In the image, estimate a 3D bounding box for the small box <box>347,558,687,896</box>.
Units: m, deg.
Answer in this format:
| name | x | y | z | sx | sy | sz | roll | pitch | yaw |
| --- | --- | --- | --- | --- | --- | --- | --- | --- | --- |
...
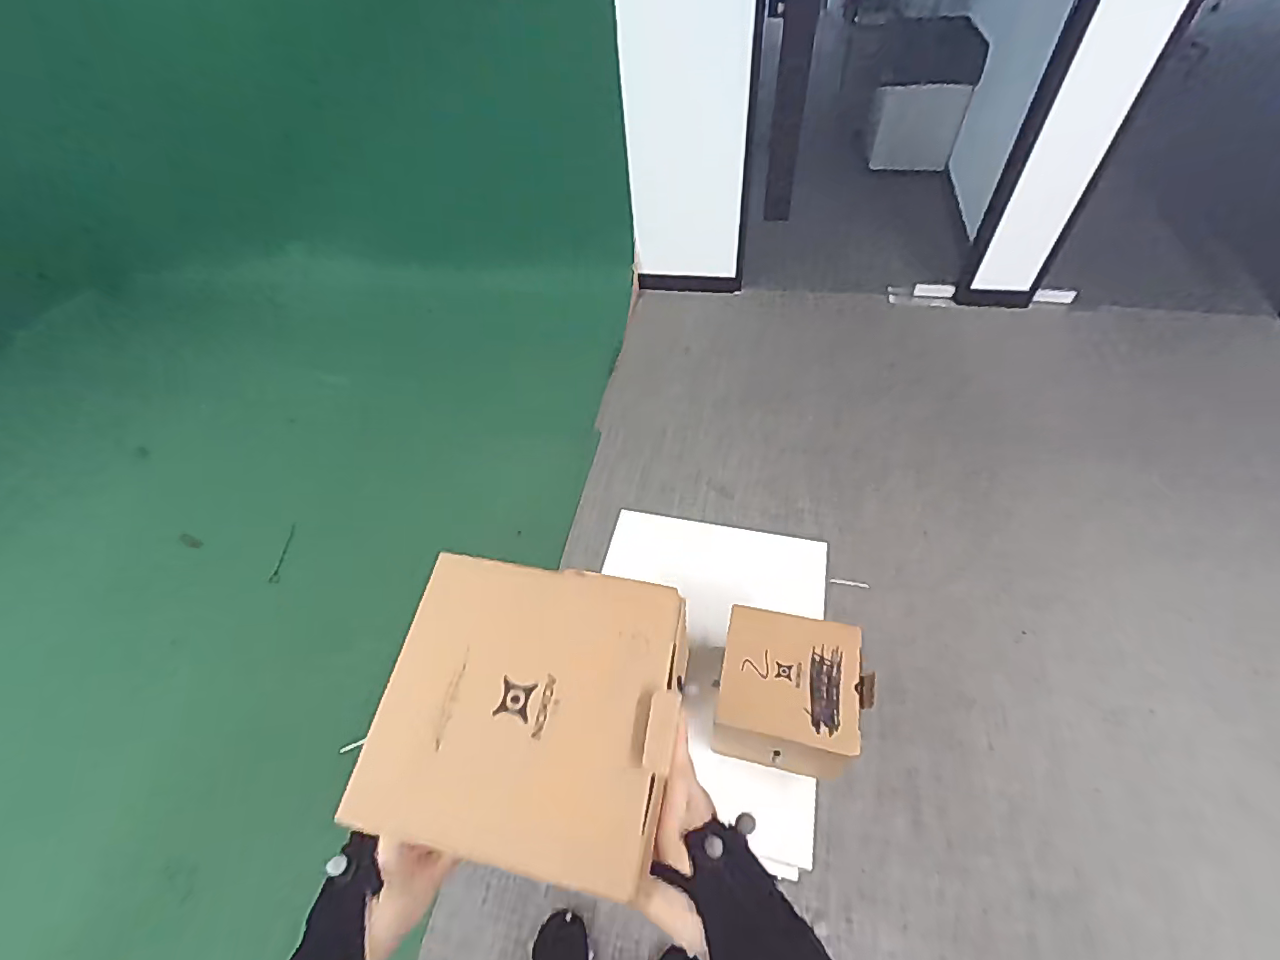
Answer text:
| name | x | y | z | sx | sy | sz | roll | pitch | yaw |
| --- | --- | --- | --- | --- | --- | --- | --- | --- | --- |
| small box | -0.062 | 0.176 | 0.403 | 0.179 | 0.176 | 0.168 | 7 | 61 | 10 |
